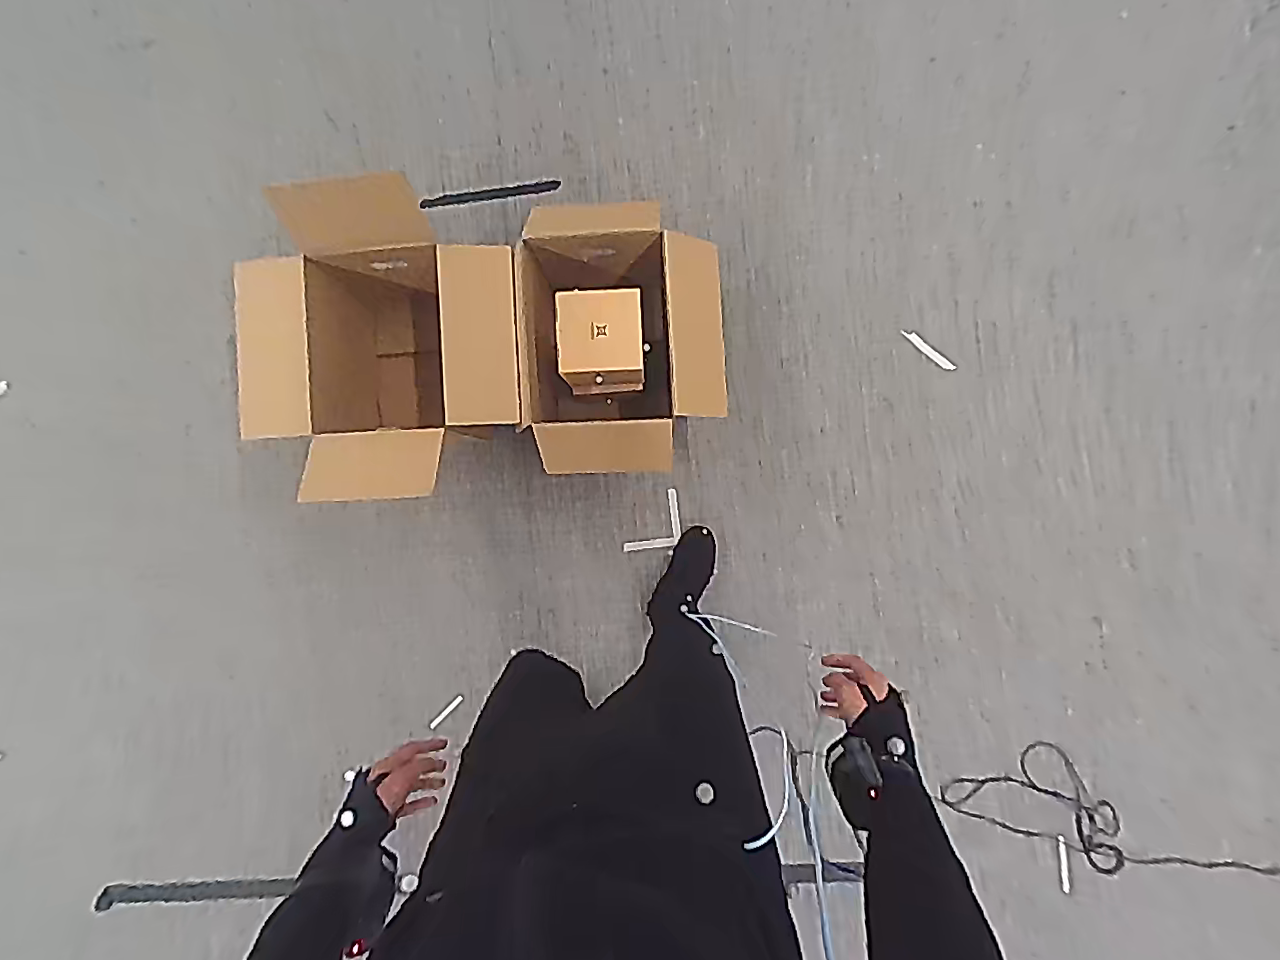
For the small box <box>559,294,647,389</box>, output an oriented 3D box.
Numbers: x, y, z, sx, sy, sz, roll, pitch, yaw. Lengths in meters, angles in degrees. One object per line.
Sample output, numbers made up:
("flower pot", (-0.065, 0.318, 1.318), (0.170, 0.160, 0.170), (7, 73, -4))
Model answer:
("small box", (-0.074, -0.295, 1.179), (0.179, 0.176, 0.168), (-2, 91, 3))
